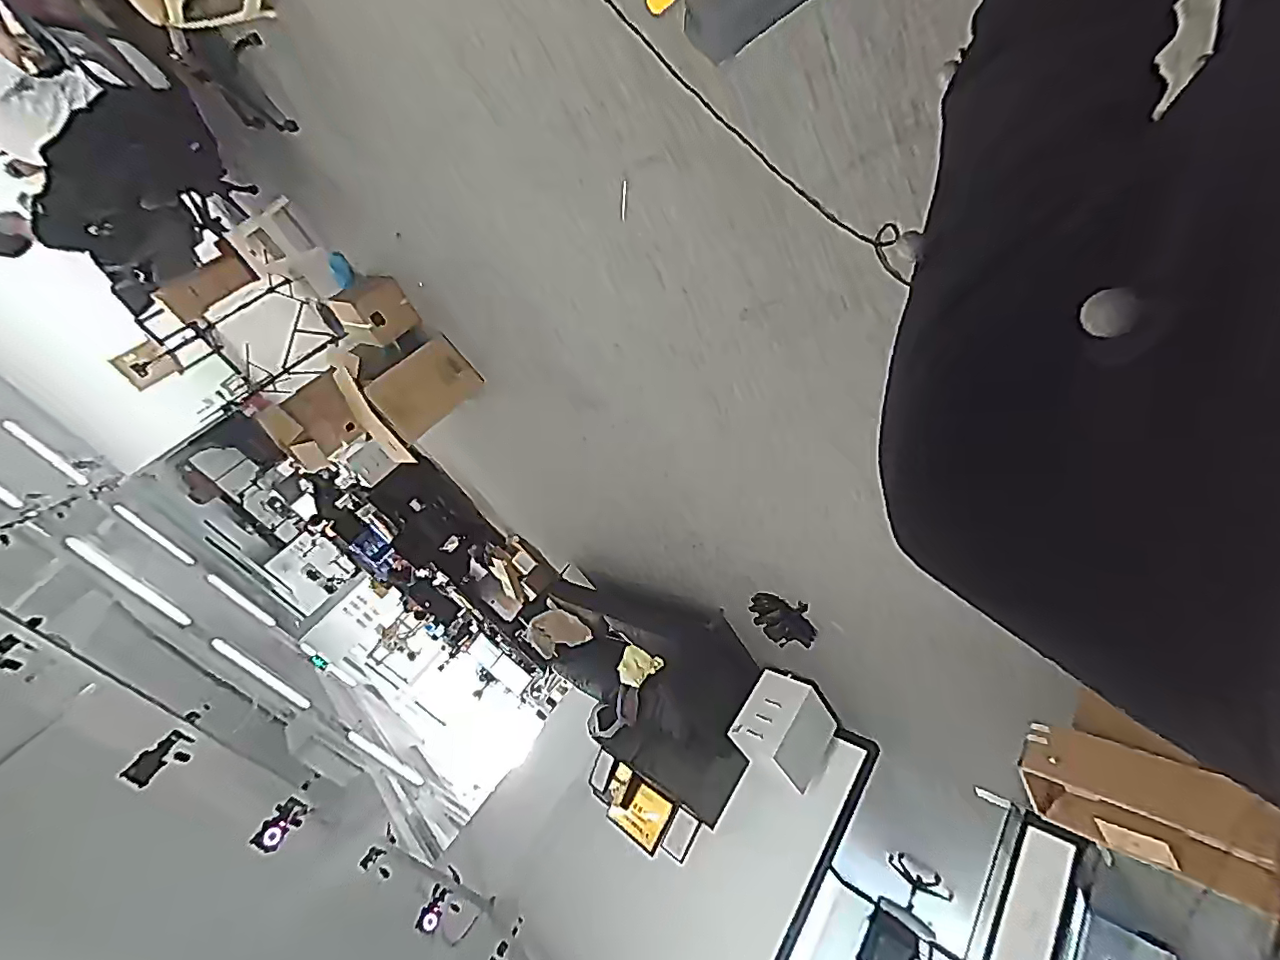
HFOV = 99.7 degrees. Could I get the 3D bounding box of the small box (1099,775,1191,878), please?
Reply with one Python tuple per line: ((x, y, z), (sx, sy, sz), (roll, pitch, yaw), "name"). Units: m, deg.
((1.522, 1.033, 1.625), (0.168, 0.176, 0.179), (-5, 128, 54), "small box")
